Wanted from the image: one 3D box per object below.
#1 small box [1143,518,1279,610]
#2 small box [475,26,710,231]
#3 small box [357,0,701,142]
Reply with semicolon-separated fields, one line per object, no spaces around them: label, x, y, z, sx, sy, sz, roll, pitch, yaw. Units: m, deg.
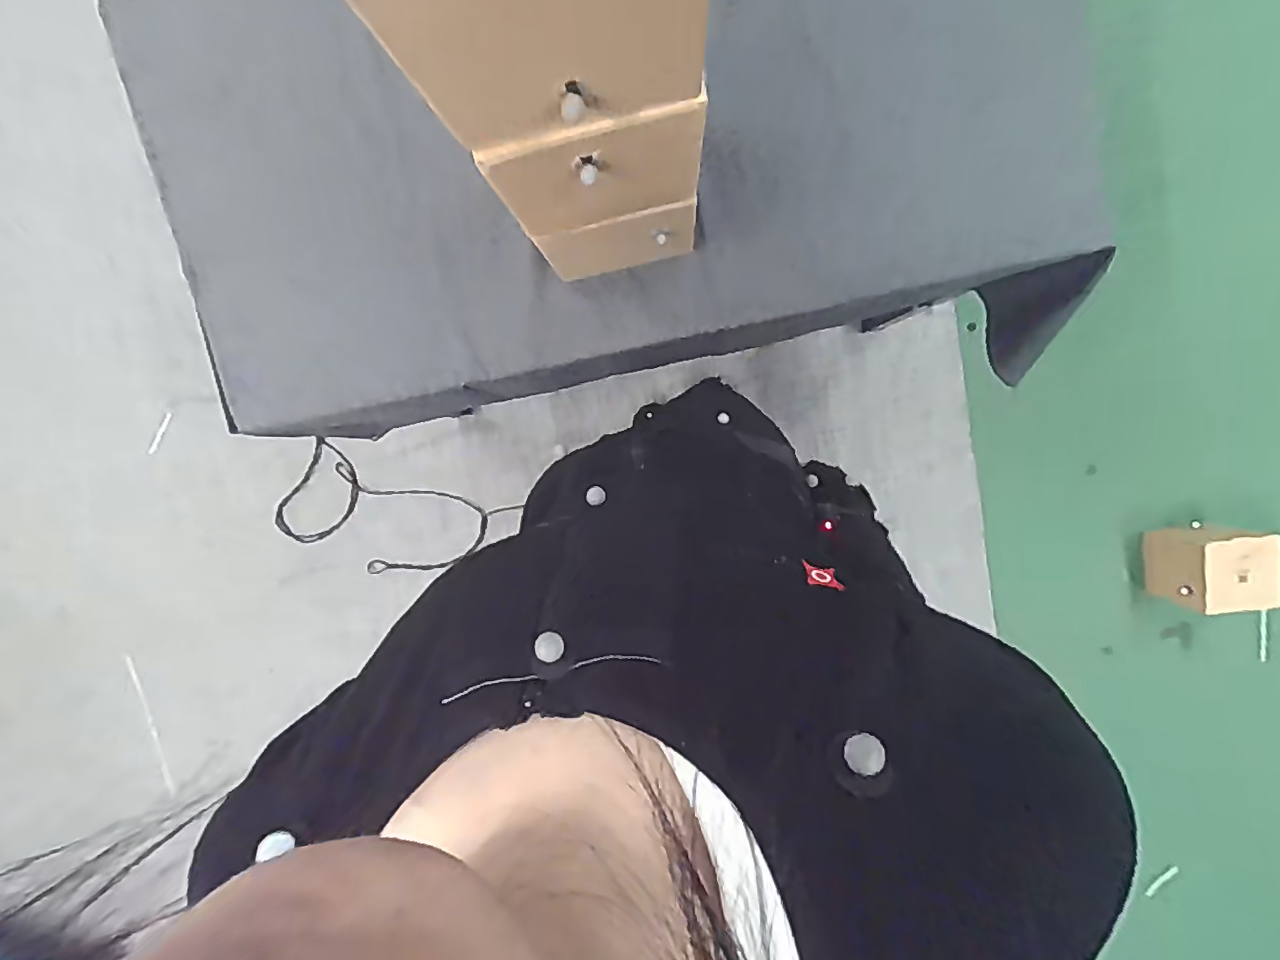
small box;1.388;0.200;1.325;0.168;0.176;0.179;-7;96;4
small box;-0.046;-0.340;0.464;0.179;0.176;0.168;-12;95;5
small box;-0.061;-0.327;0.302;0.179;0.176;0.168;-10;95;5
